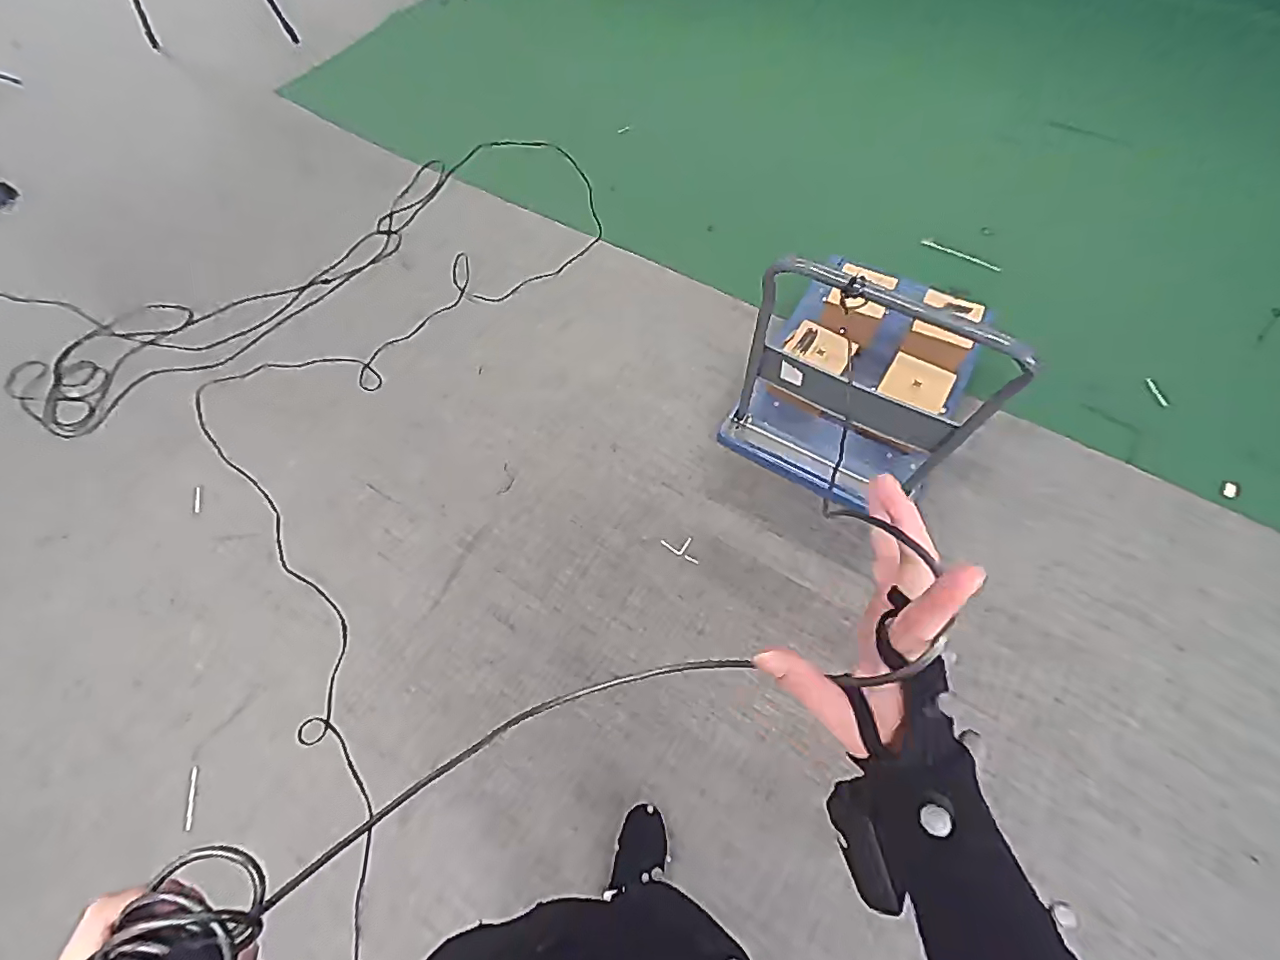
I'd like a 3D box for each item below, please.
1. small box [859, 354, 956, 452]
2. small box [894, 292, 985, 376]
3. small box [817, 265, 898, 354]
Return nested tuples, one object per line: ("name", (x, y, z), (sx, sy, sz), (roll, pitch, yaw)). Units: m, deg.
("small box", (0.744, -0.214, 1.521), (0.168, 0.176, 0.179), (30, 69, 16))
("small box", (0.888, -0.421, 1.617), (0.168, 0.176, 0.179), (25, 68, 15))
("small box", (0.666, -0.523, 1.678), (0.168, 0.176, 0.179), (25, 67, 13))
